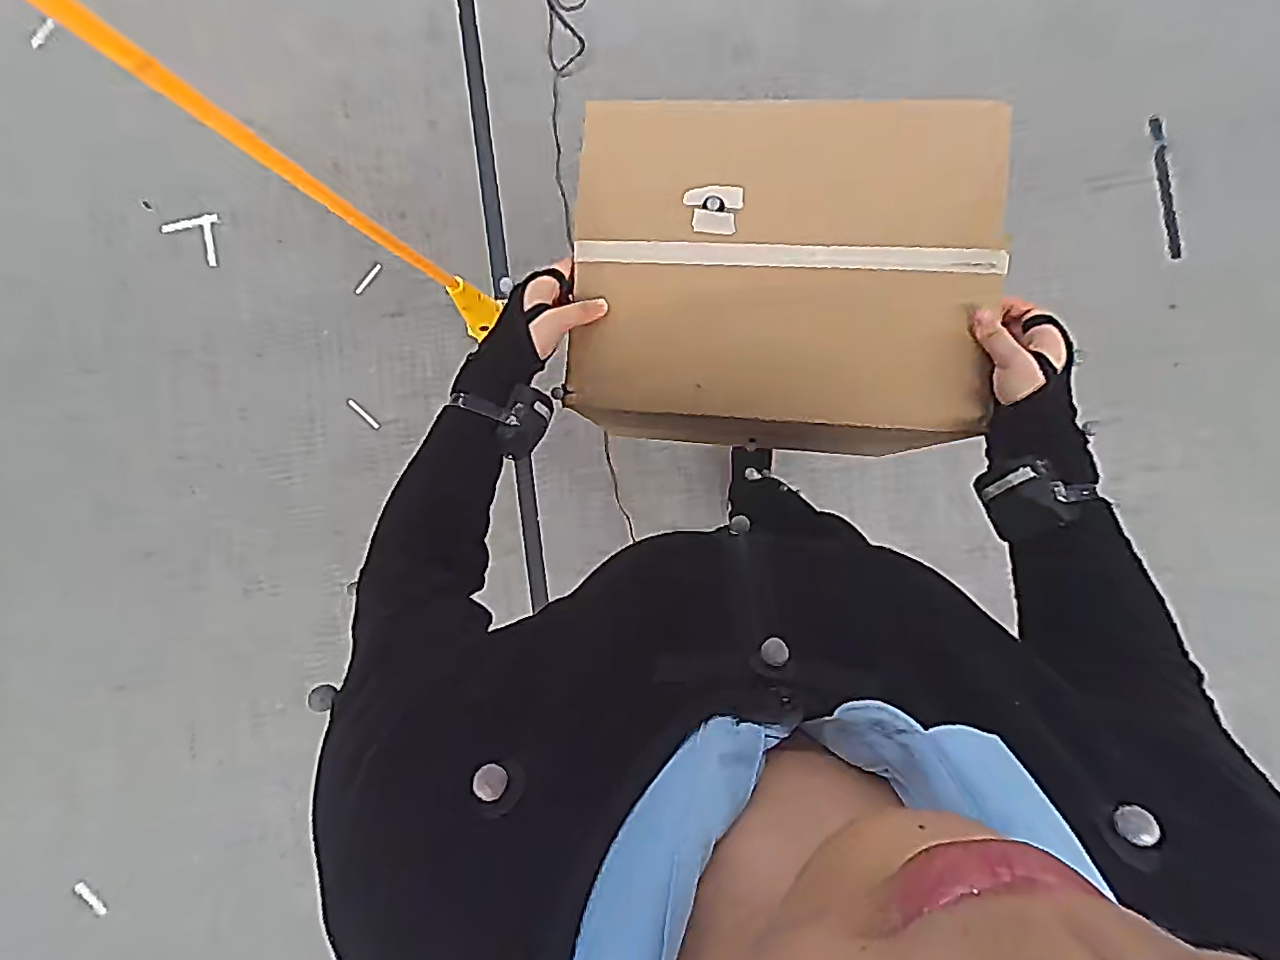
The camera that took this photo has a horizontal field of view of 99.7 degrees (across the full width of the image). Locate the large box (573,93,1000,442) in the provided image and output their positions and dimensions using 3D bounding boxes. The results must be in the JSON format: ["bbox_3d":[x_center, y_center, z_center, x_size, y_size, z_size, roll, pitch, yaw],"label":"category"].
[{"bbox_3d":[0.158,-0.220,0.680,0.408,0.320,0.320,4,88,8],"label":"large box"}]
